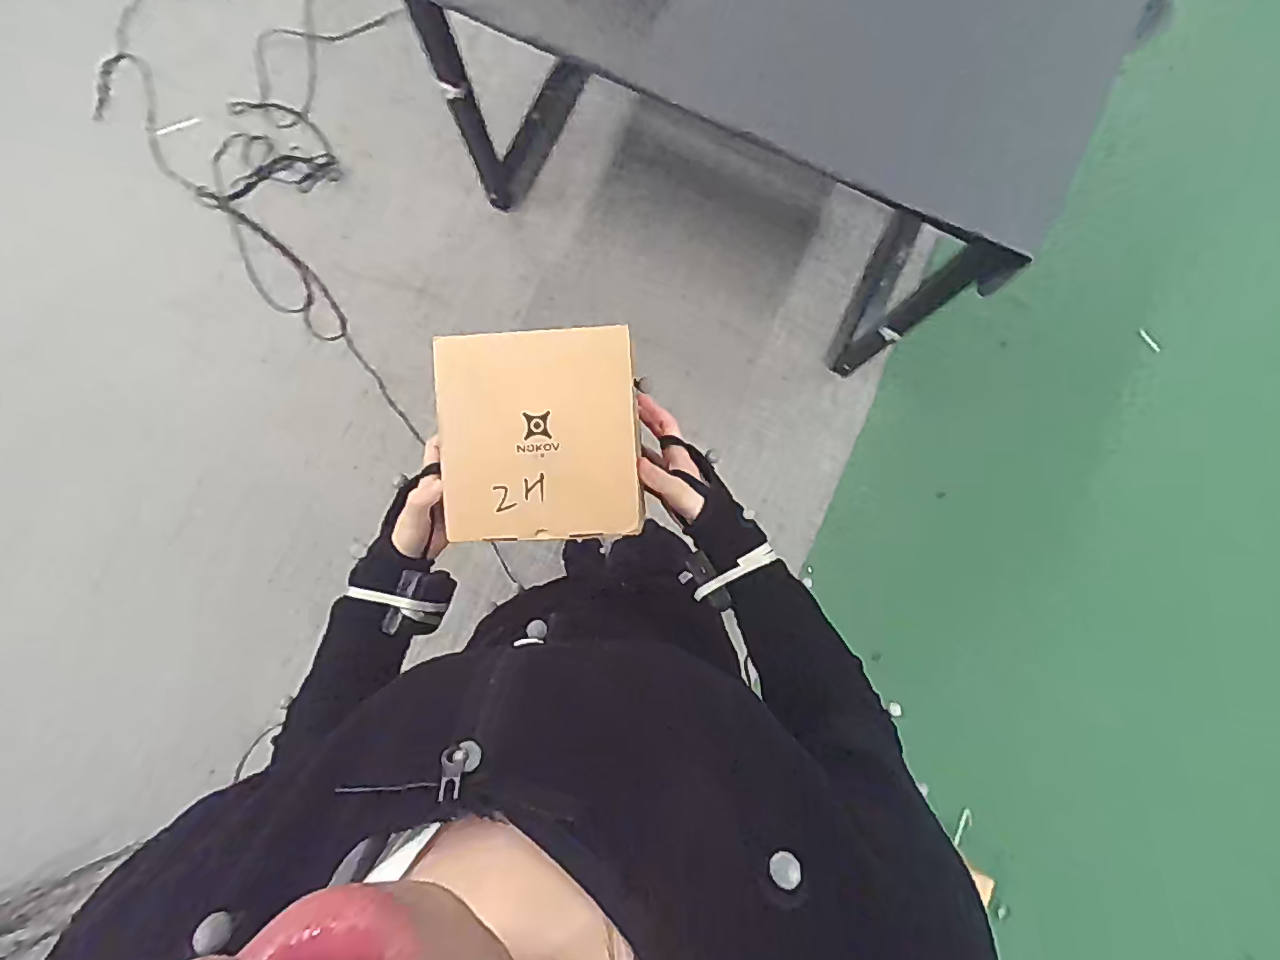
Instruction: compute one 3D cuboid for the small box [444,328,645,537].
[{"bbox_3d":[-0.081,-0.041,0.534,0.168,0.176,0.179,-2,92,2],"label":"small box"}]
